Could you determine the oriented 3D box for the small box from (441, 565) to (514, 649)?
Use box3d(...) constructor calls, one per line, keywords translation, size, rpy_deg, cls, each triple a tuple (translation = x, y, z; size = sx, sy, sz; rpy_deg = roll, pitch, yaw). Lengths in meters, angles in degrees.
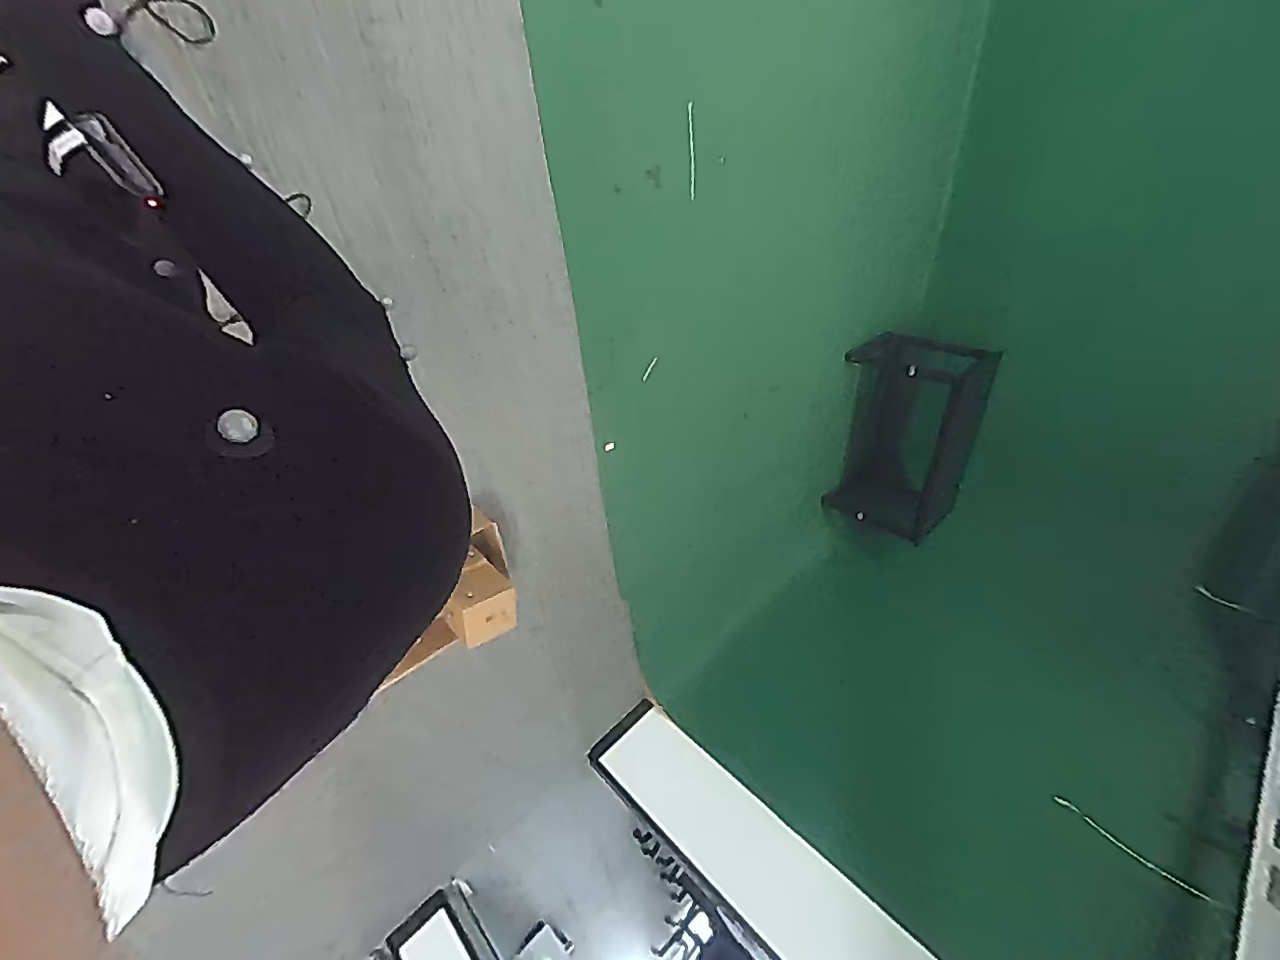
box3d(translation=(-0.527, 0.403, 1.744), size=(0.179, 0.176, 0.168), rpy_deg=(-20, 127, -38), cls="small box")
